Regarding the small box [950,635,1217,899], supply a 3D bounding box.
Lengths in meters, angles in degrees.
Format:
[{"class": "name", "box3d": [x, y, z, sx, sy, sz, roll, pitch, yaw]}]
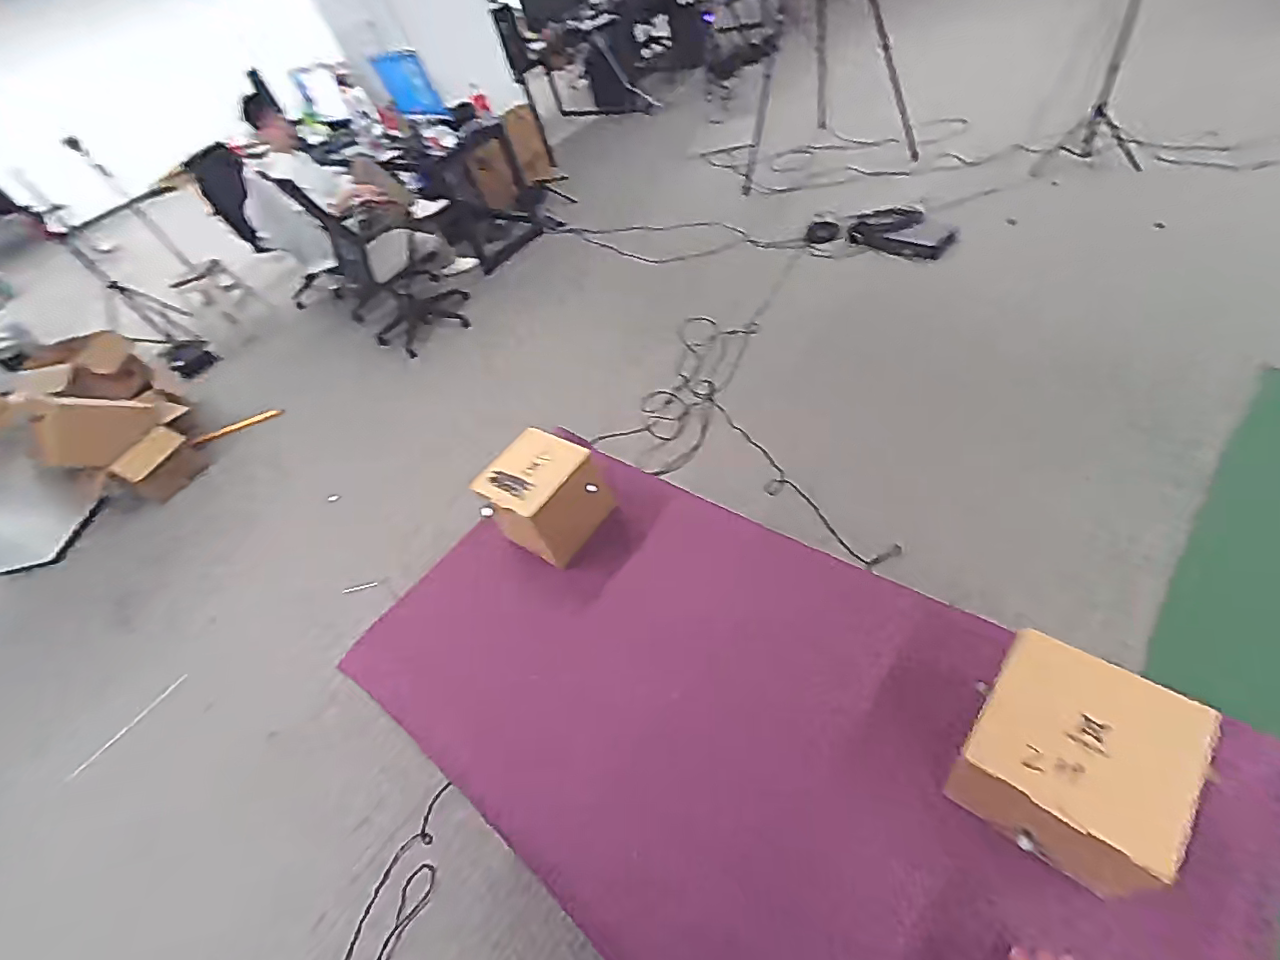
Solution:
[{"class": "small box", "box3d": [0.466, 0.313, 0.595, 0.168, 0.176, 0.179, 27, 64, 37]}]
